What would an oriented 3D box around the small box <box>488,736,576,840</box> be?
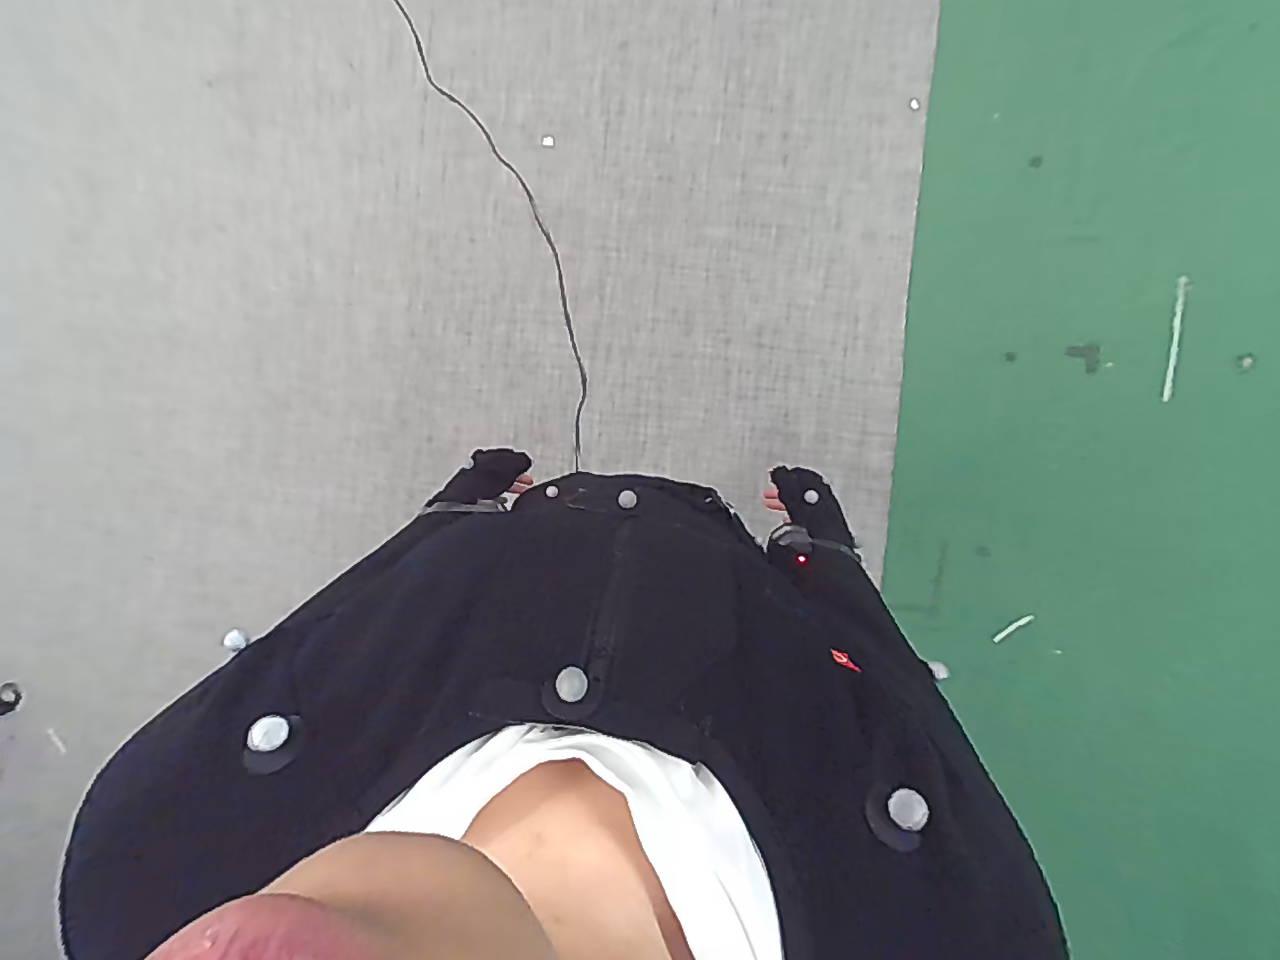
[{"bbox_3d":[-0.278,0.797,1.419,0.179,0.176,0.168,8,92,3],"label":"small box"}]
